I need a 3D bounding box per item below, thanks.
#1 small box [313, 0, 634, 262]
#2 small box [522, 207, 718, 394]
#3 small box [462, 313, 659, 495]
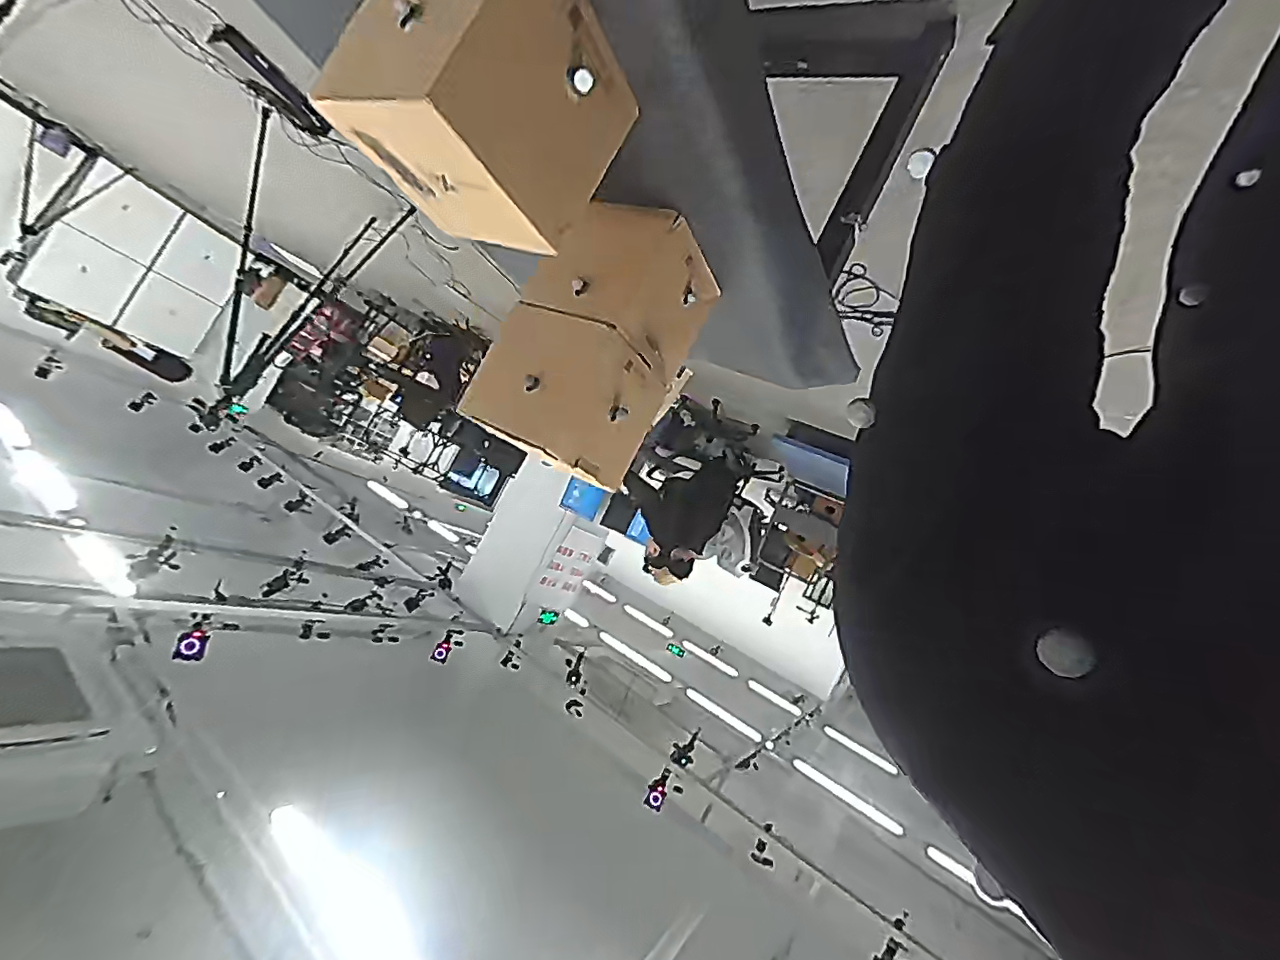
[{"bbox_3d":[-0.137,-0.330,0.483,0.179,0.176,0.168,24,175,30],"label":"small box"},{"bbox_3d":[-0.021,-0.247,0.746,0.179,0.176,0.168,24,173,32],"label":"small box"},{"bbox_3d":[-0.095,-0.103,0.725,0.179,0.176,0.168,22,173,33],"label":"small box"}]
